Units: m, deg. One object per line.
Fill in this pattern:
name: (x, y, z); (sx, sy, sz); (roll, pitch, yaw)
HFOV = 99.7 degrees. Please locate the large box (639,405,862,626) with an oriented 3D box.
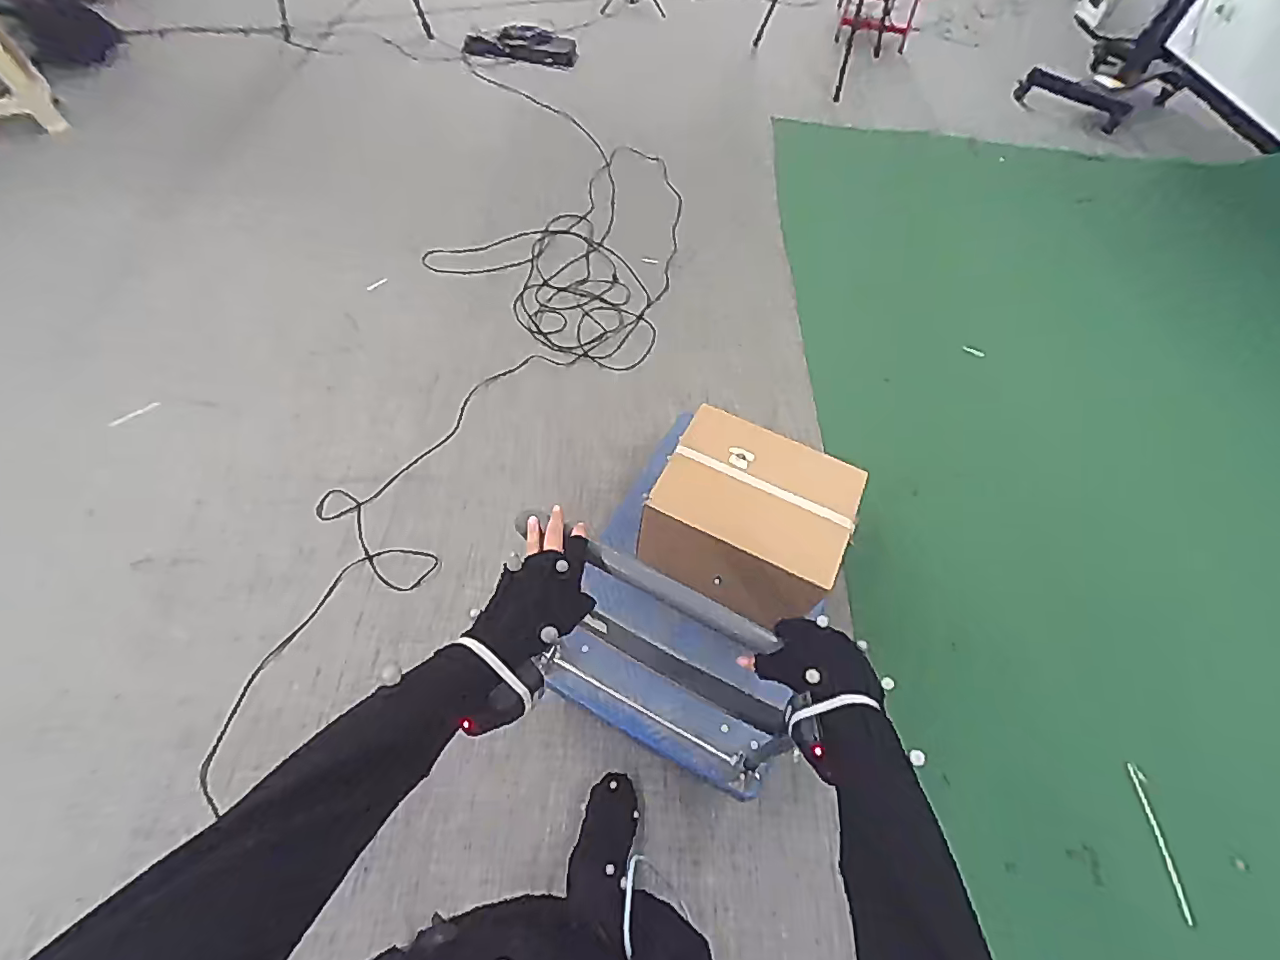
large box: (0.246, 0.092, 1.288); (0.408, 0.320, 0.320); (25, 59, 11)
